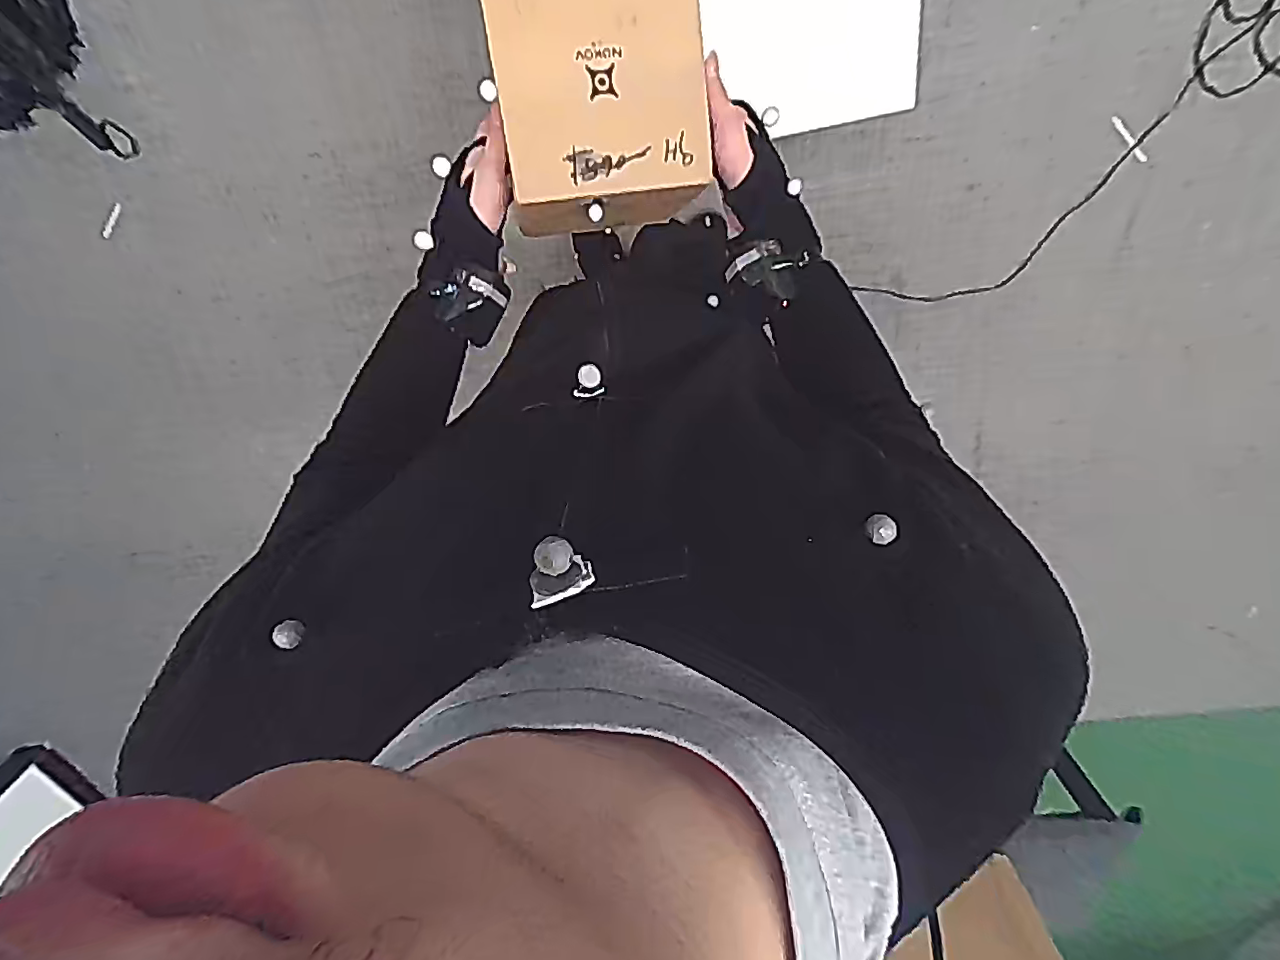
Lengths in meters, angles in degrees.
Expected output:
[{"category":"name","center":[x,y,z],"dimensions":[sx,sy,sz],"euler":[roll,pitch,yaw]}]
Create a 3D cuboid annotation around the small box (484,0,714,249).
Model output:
[{"category":"small box","center":[-0.041,-0.331,0.499],"dimensions":[0.168,0.176,0.179],"euler":[-10,103,-5]}]
